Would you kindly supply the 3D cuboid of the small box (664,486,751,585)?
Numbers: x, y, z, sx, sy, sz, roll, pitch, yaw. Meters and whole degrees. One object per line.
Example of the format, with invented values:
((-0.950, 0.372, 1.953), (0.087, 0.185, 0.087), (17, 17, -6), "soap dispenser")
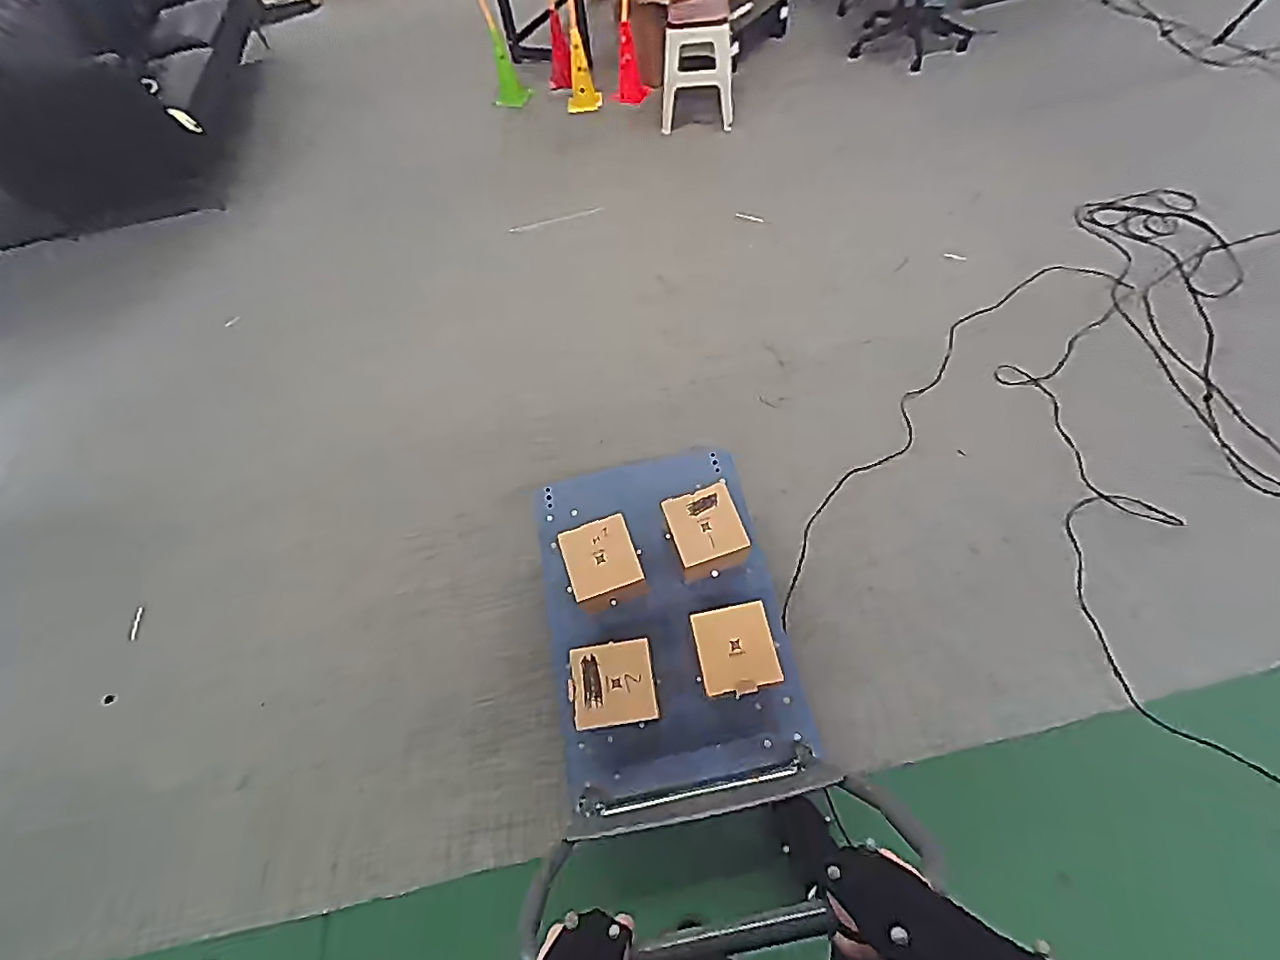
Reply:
((0.163, 0.143, 1.357), (0.168, 0.176, 0.179), (-18, 66, -3), "small box")

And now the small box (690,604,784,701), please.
((0.212, 0.400, 1.239), (0.168, 0.176, 0.179), (-11, 66, -1), "small box")

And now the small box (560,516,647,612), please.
((-0.086, 0.217, 1.341), (0.168, 0.176, 0.179), (-18, 65, -5), "small box")
